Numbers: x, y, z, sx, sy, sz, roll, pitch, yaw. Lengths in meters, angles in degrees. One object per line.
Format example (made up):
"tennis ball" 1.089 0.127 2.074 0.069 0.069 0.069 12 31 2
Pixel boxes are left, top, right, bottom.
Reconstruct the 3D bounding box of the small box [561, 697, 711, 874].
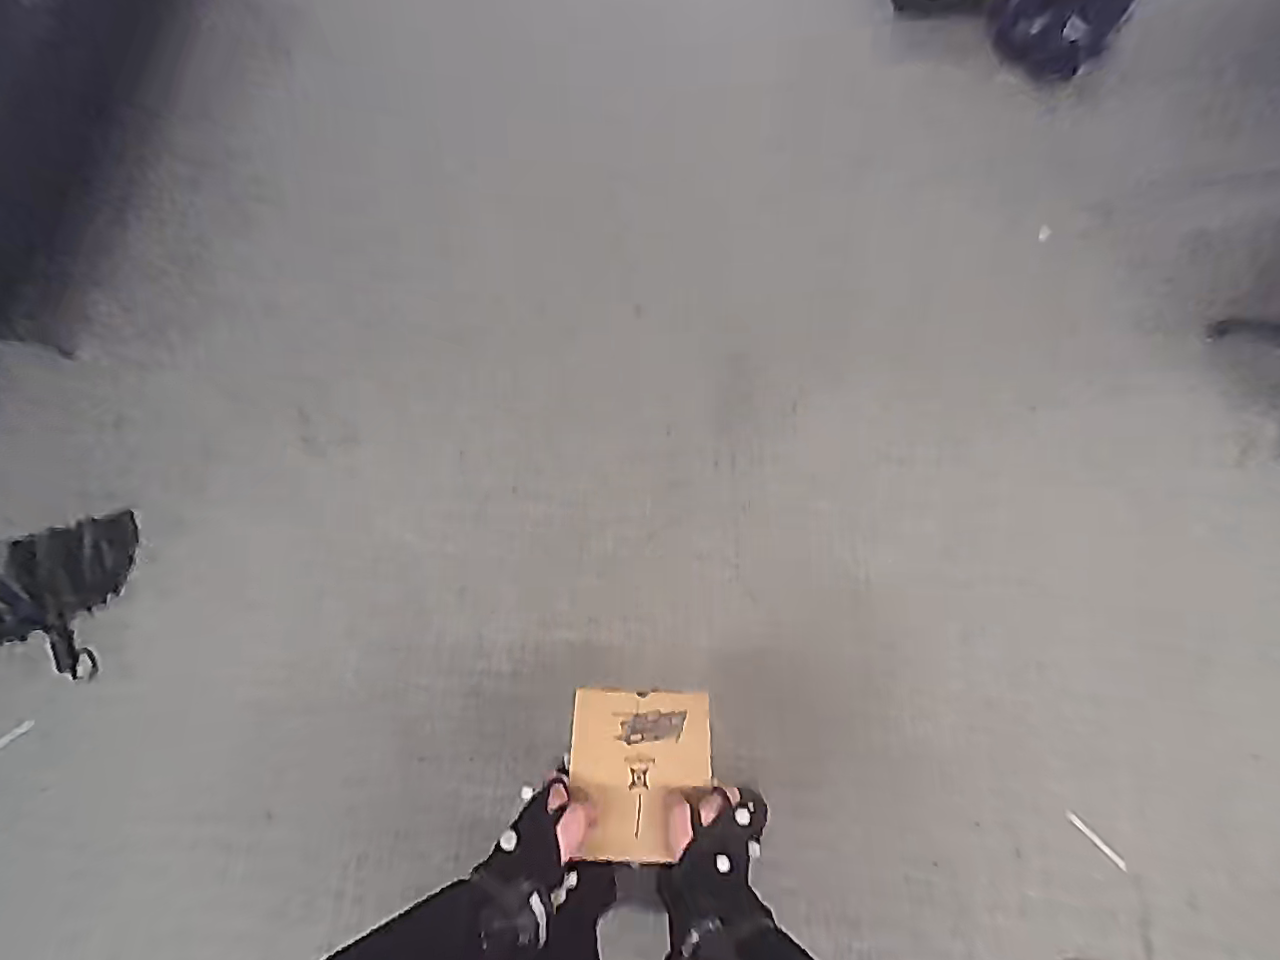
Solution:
"small box" 0.000 0.385 0.691 0.168 0.176 0.179 0 61 2
